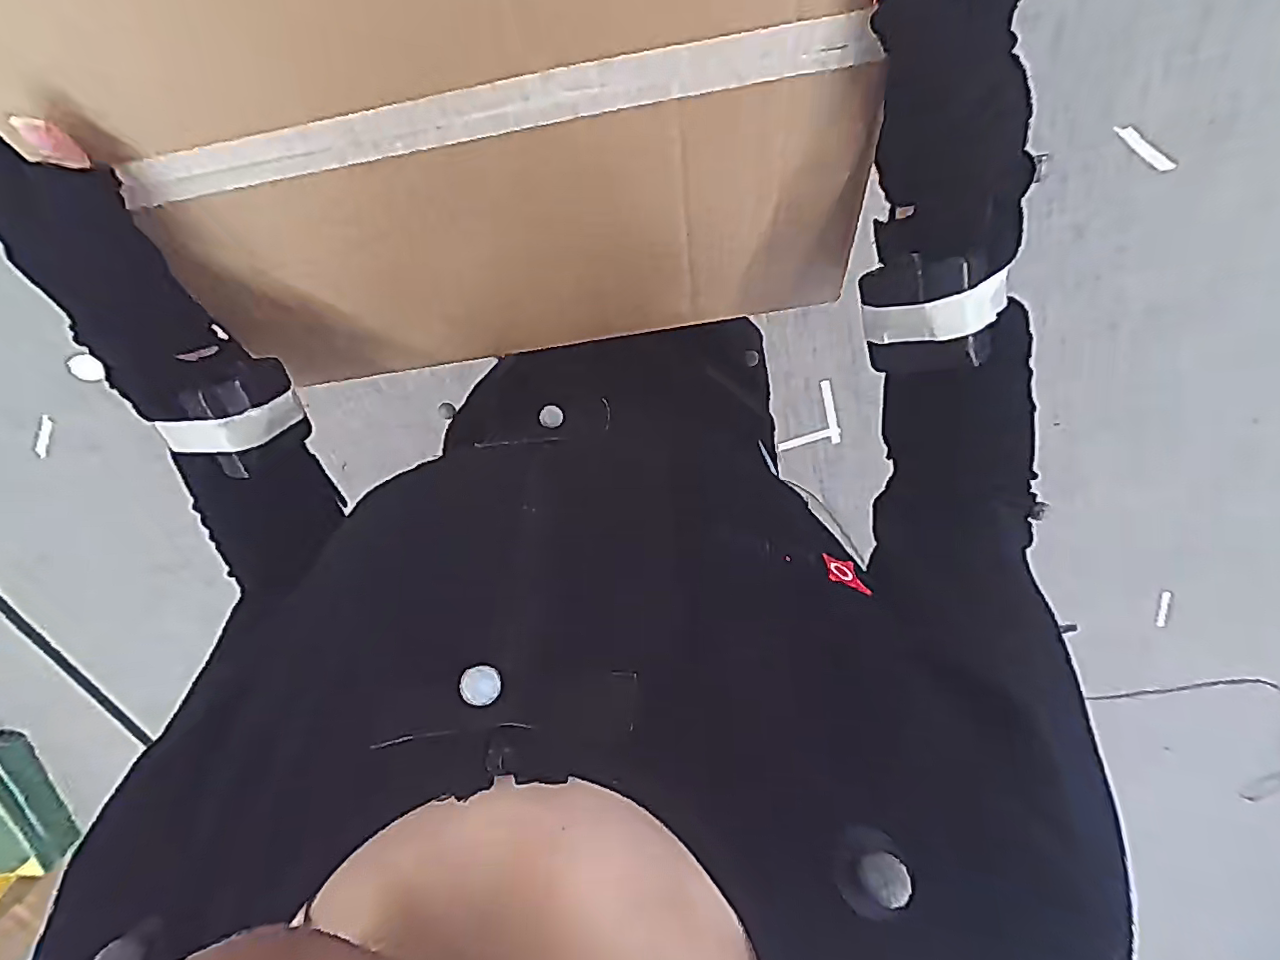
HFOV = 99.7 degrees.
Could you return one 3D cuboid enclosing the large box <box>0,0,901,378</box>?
[{"bbox_3d":[-0.093,-0.307,0.337,0.408,0.320,0.320,-8,151,4],"label":"large box"}]
